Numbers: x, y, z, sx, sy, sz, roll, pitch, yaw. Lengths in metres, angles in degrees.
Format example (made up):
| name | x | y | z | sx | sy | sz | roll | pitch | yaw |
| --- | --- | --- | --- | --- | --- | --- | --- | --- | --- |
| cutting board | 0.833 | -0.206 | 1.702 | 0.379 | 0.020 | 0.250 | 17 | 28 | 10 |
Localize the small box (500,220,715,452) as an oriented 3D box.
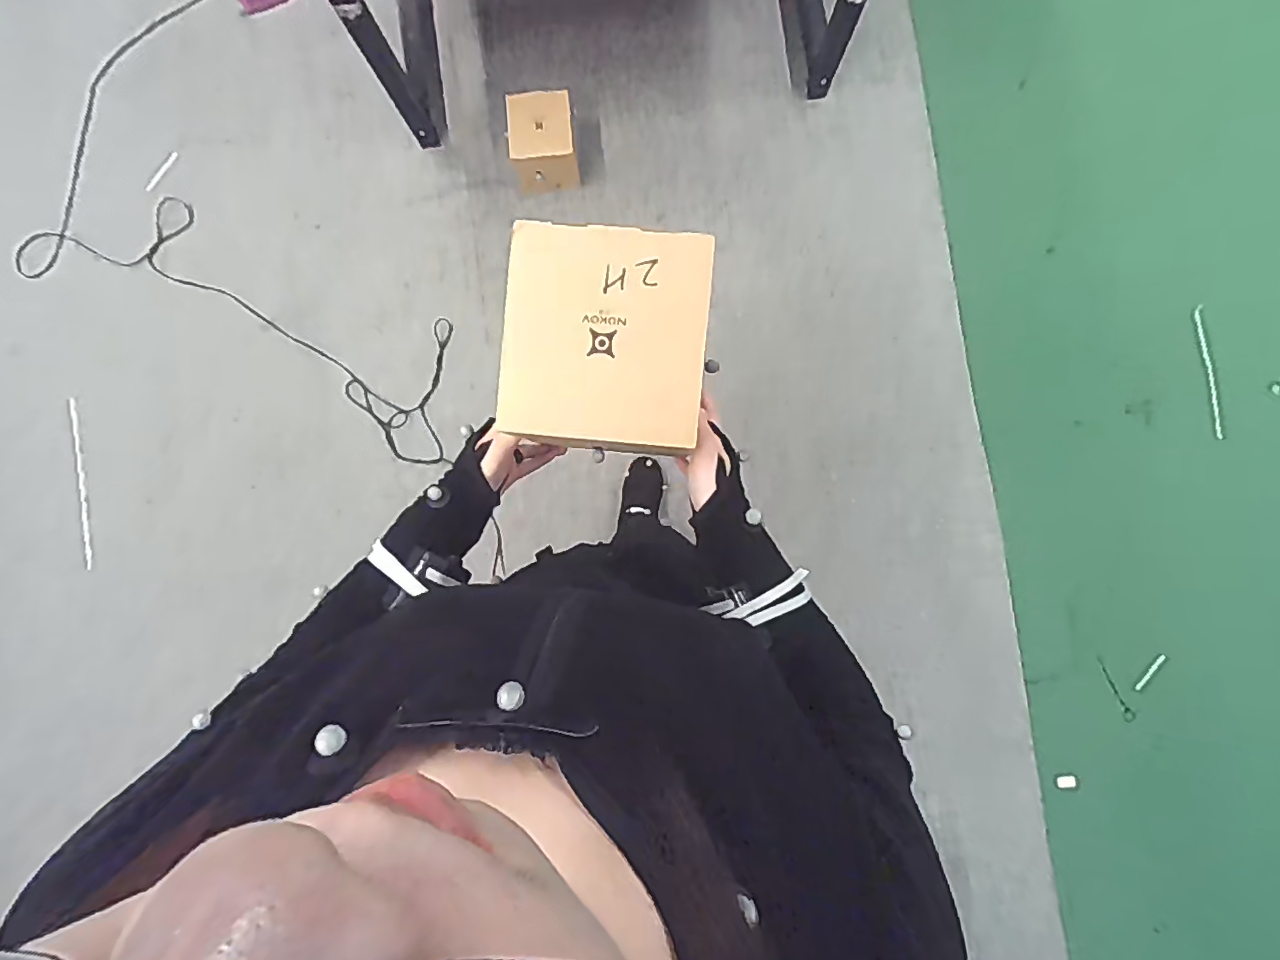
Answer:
| name | x | y | z | sx | sy | sz | roll | pitch | yaw |
| --- | --- | --- | --- | --- | --- | --- | --- | --- | --- |
| small box | -0.025 | -0.123 | 0.530 | 0.168 | 0.176 | 0.179 | 7 | 90 | 2 |
